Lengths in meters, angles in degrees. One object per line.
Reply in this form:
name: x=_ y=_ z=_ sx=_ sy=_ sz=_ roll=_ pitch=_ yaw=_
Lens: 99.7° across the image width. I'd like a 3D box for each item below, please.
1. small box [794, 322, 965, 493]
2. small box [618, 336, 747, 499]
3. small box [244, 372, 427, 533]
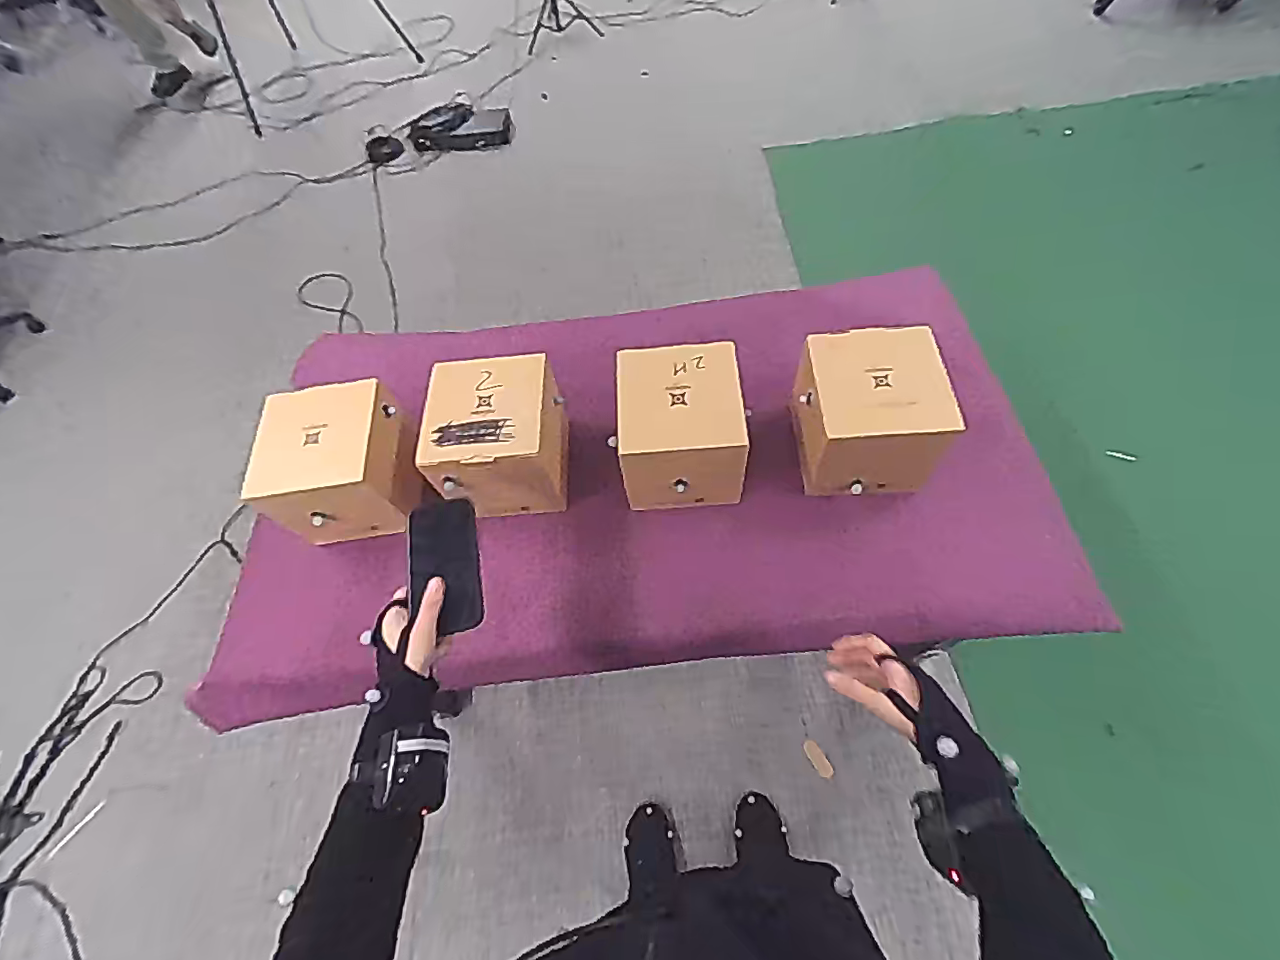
small box: x=0.320 y=-0.098 z=0.768 sx=0.168 sy=0.176 sz=0.179 roll=-2 pitch=61 yaw=6
small box: x=0.061 y=-0.080 z=0.784 sx=0.168 sy=0.176 sz=0.179 roll=-4 pitch=61 yaw=4
small box: x=-0.437 y=-0.031 z=0.809 sx=0.168 sy=0.176 sz=0.179 roll=-9 pitch=60 yaw=1
